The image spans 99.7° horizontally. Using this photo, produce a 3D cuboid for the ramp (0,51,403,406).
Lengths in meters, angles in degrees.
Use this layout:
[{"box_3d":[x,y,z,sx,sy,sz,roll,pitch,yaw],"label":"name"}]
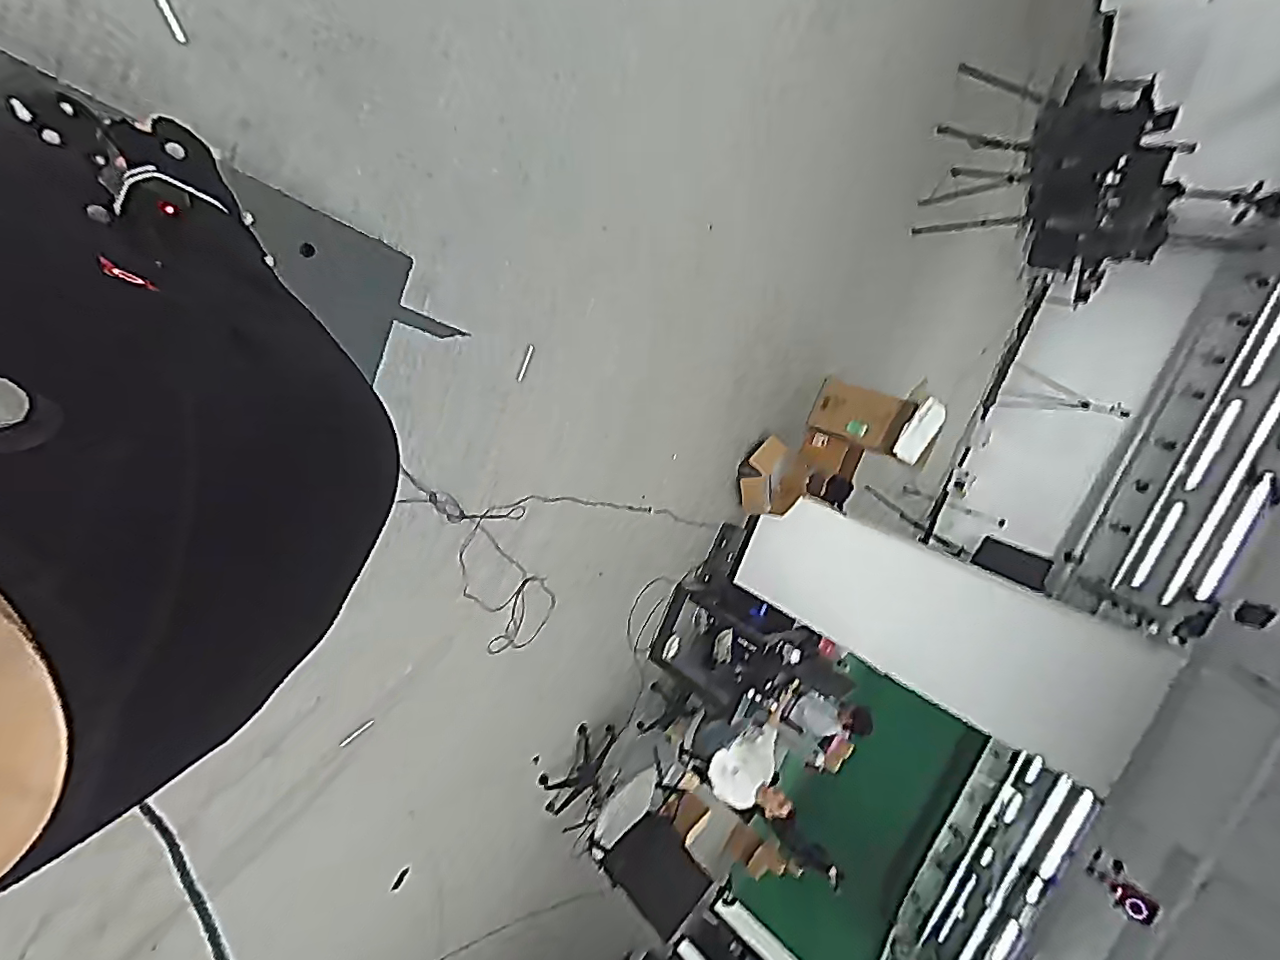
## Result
[{"box_3d":[-1.000,-0.467,1.181,0.991,0.206,0.509,8,105,-54],"label":"ramp"}]
